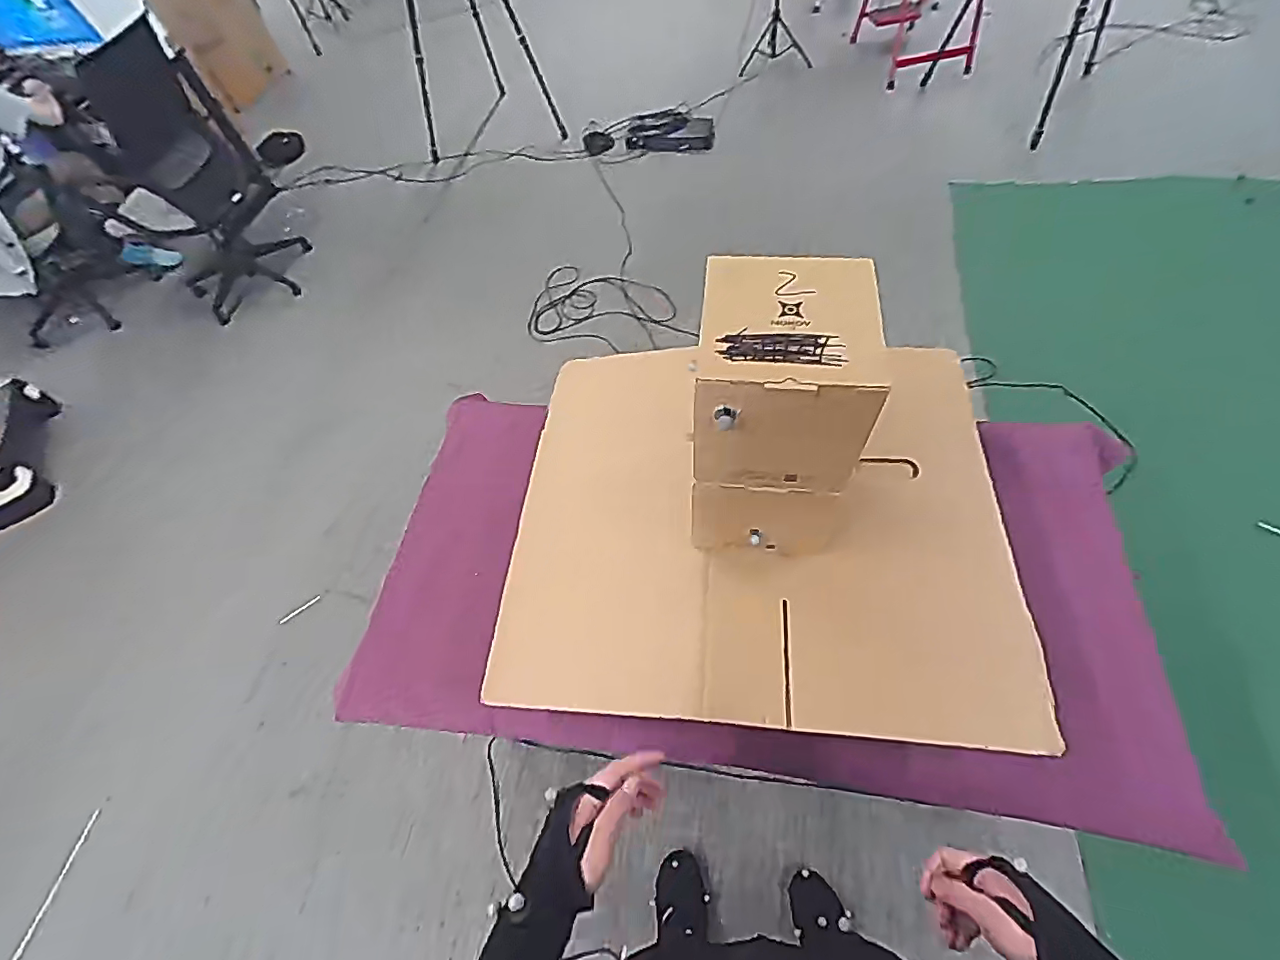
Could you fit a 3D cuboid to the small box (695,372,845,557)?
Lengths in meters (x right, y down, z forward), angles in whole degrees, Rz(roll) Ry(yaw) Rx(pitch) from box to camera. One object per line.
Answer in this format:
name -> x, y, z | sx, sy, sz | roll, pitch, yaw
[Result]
small box -> 0.160, -0.018, 0.709 | 0.168, 0.176, 0.179 | 4, 59, 8
